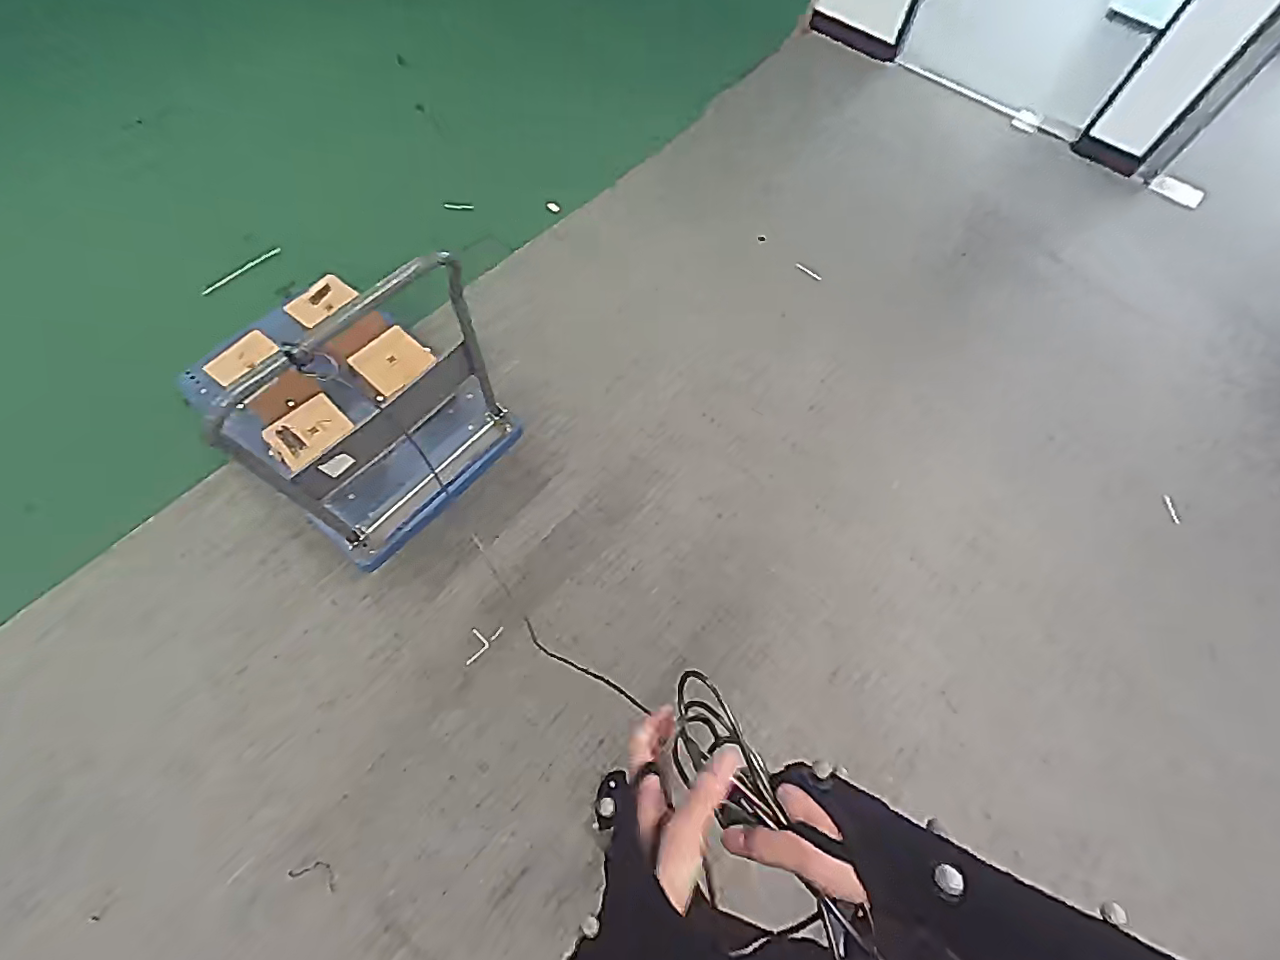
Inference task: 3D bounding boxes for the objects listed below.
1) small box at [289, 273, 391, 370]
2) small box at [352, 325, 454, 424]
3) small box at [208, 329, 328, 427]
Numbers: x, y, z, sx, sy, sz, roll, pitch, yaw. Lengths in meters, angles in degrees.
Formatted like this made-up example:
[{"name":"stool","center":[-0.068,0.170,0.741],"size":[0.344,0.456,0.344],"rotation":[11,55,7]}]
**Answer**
[{"name":"small box","center":[-0.855,-0.452,1.567],"size":[0.179,0.176,0.168],"rotation":[35,70,12]},{"name":"small box","center":[-0.651,-0.288,1.504],"size":[0.179,0.176,0.168],"rotation":[40,70,13]},{"name":"small box","center":[-1.005,-0.269,1.480],"size":[0.179,0.176,0.168],"rotation":[35,68,13]}]
